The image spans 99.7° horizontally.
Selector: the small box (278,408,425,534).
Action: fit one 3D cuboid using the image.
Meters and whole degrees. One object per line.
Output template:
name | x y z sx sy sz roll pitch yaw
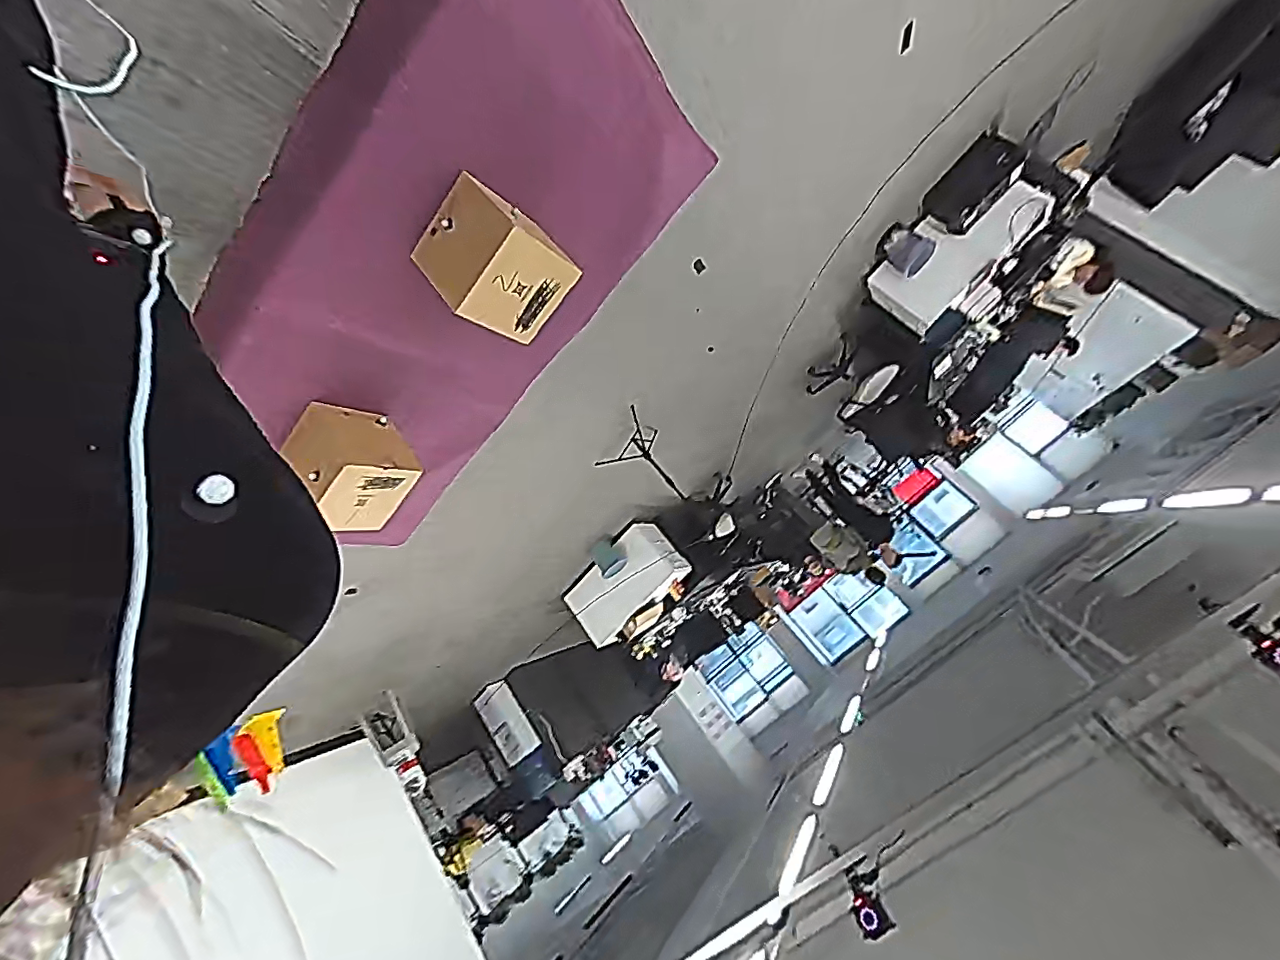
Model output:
small box | -0.564 -0.016 1.053 0.179 0.176 0.168 -47 157 17
